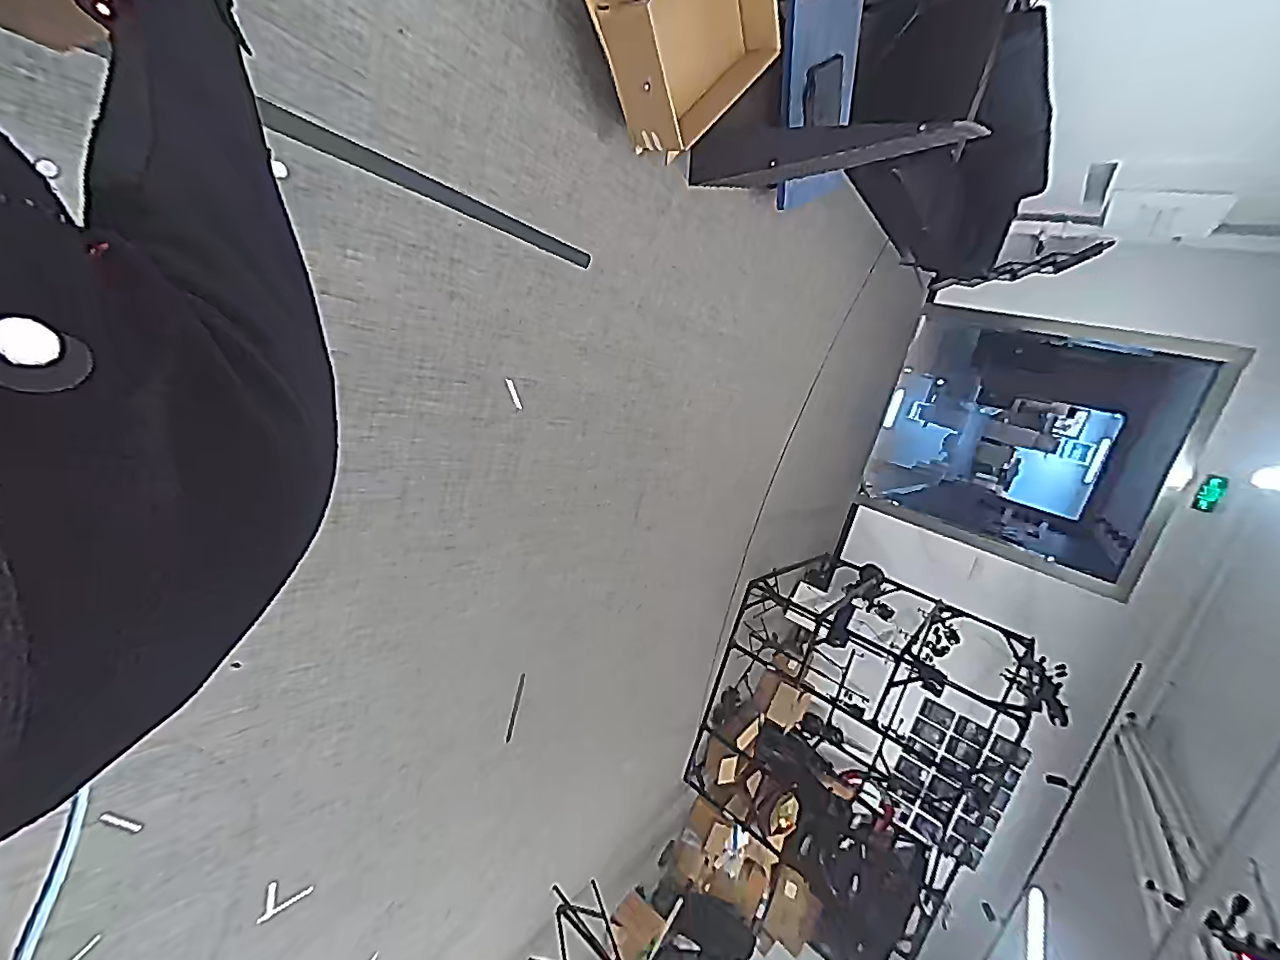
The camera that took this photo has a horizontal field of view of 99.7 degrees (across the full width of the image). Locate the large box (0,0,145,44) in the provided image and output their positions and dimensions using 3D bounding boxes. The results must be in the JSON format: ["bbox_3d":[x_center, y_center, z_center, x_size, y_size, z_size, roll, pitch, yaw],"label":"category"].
[{"bbox_3d":[-0.600,-0.554,0.321,0.408,0.320,0.320,-5,116,-55],"label":"large box"}]
